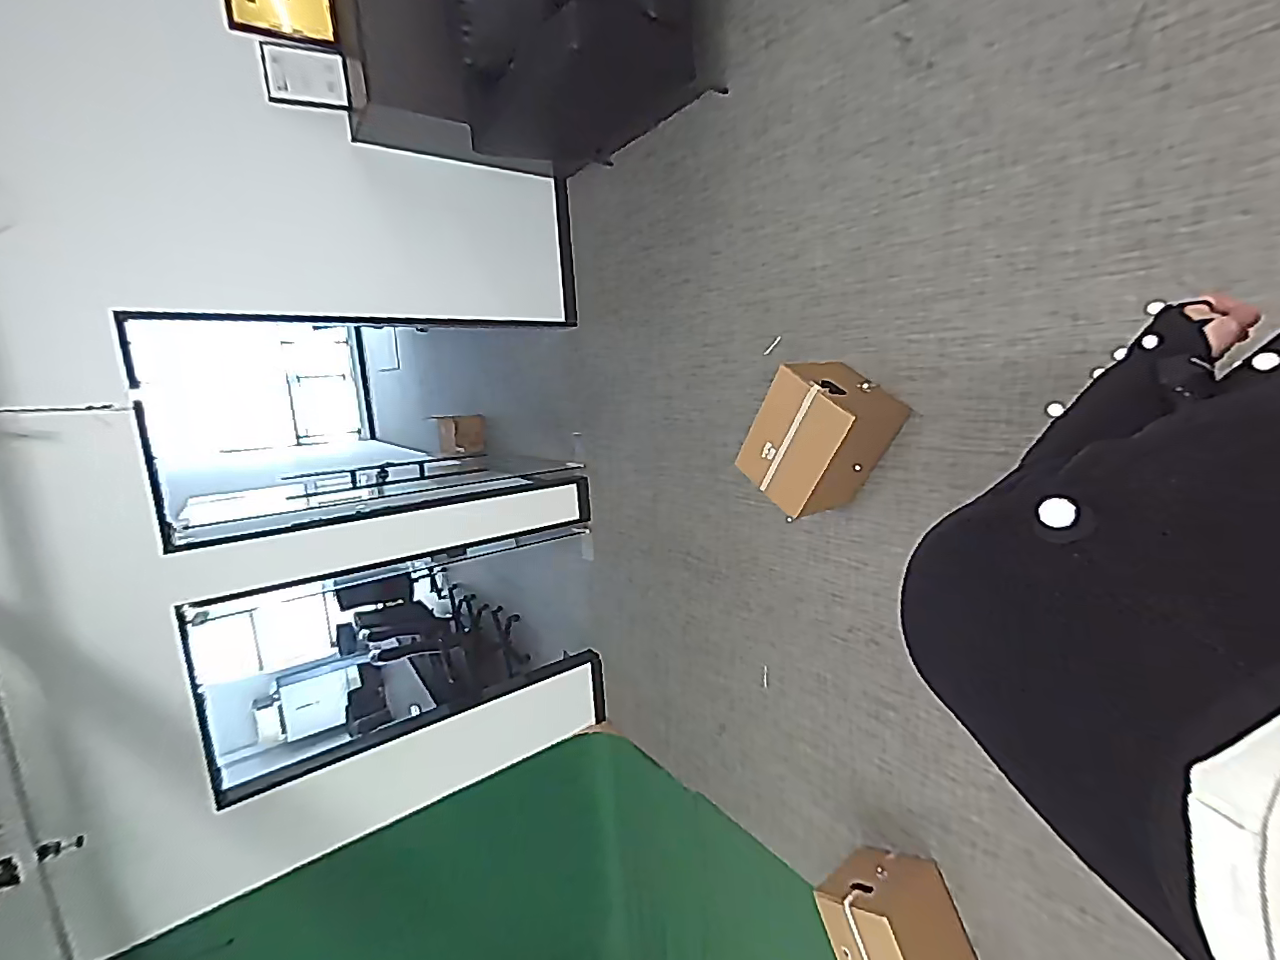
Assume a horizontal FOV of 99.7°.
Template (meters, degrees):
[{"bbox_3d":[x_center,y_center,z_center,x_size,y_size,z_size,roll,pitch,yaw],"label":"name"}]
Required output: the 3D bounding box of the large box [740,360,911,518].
[{"bbox_3d":[0.601,-0.146,1.793,0.320,0.320,0.408,50,137,36],"label":"large box"}]
